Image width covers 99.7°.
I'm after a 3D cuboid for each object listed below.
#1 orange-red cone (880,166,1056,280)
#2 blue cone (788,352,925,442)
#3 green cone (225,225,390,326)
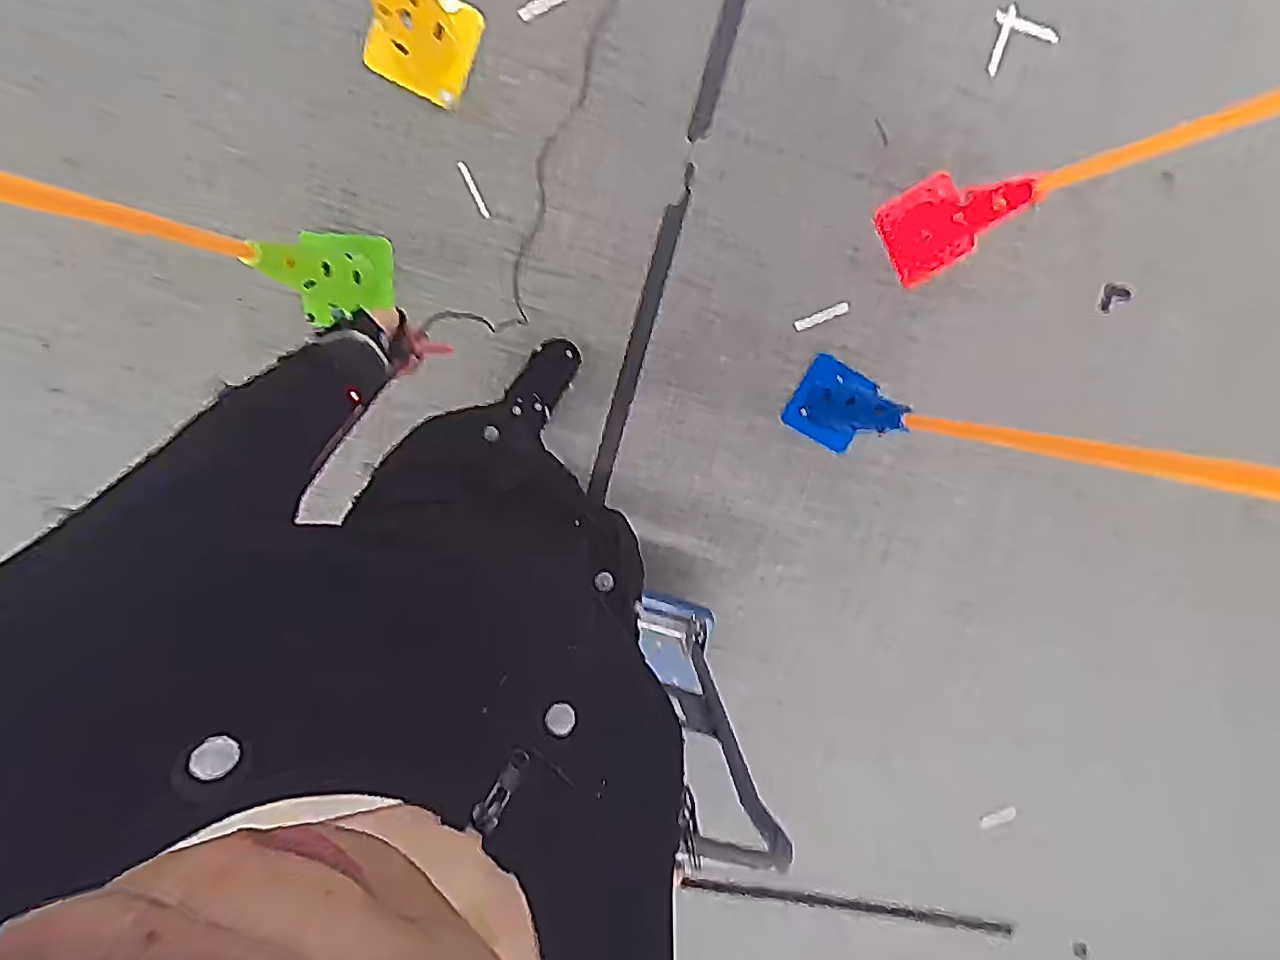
[{"bbox_3d":[0.689,-0.559,1.102,0.199,0.360,0.198,-29,102,4],"label":"orange-red cone"},{"bbox_3d":[0.496,-0.170,1.190,0.193,0.380,0.192,29,98,-10],"label":"blue cone"},{"bbox_3d":[-0.650,-0.415,1.035,0.200,0.368,0.202,1,101,-5],"label":"green cone"}]
